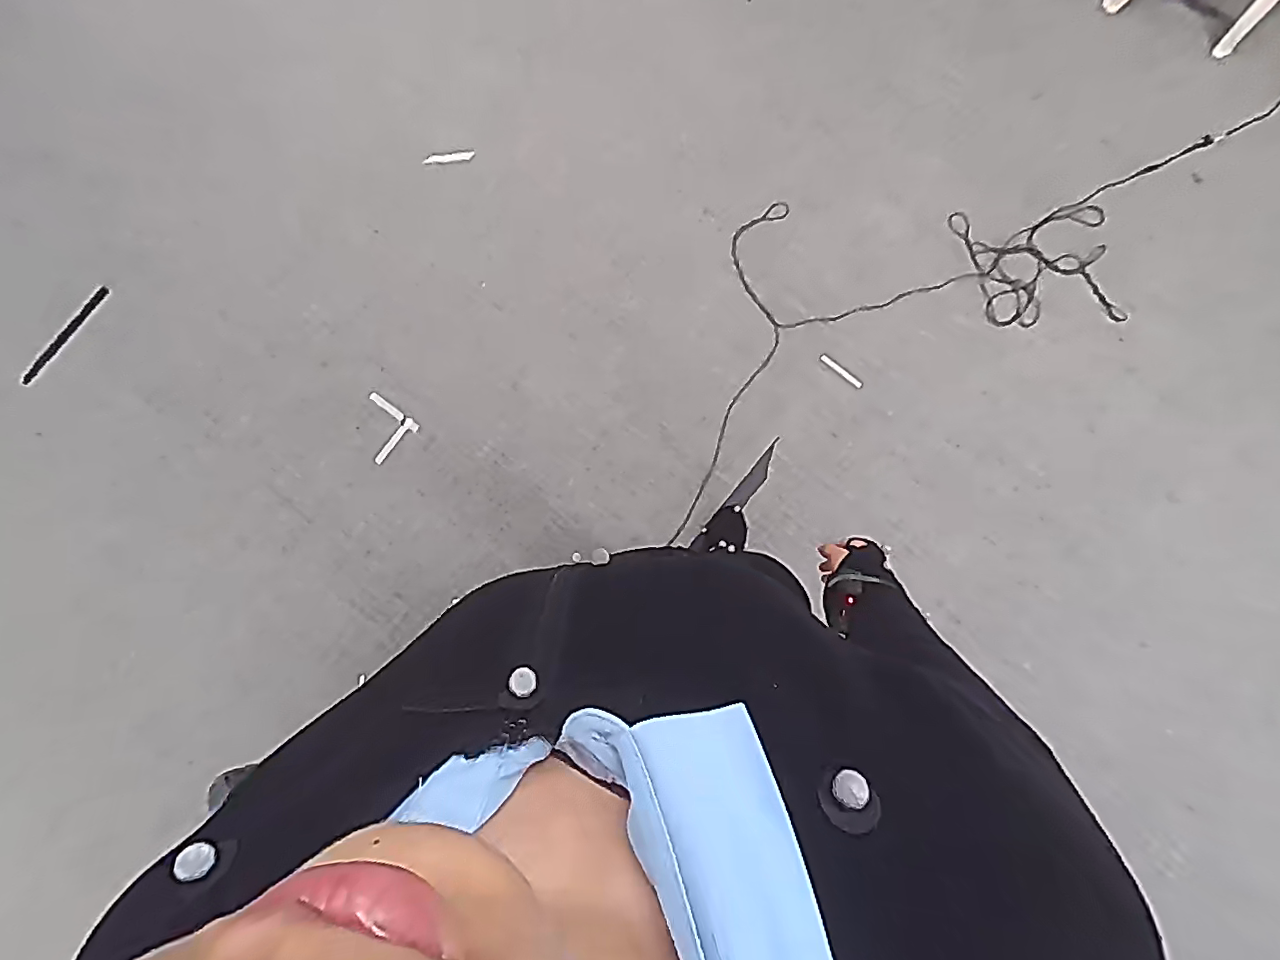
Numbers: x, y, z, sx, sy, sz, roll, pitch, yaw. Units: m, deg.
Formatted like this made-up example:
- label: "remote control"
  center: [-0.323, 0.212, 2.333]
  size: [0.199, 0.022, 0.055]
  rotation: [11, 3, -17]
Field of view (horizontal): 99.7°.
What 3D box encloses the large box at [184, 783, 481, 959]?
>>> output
- label: "large box"
  center: [-0.614, 0.934, 1.113]
  size: [0.408, 0.320, 0.320]
  rotation: [39, 86, 4]
